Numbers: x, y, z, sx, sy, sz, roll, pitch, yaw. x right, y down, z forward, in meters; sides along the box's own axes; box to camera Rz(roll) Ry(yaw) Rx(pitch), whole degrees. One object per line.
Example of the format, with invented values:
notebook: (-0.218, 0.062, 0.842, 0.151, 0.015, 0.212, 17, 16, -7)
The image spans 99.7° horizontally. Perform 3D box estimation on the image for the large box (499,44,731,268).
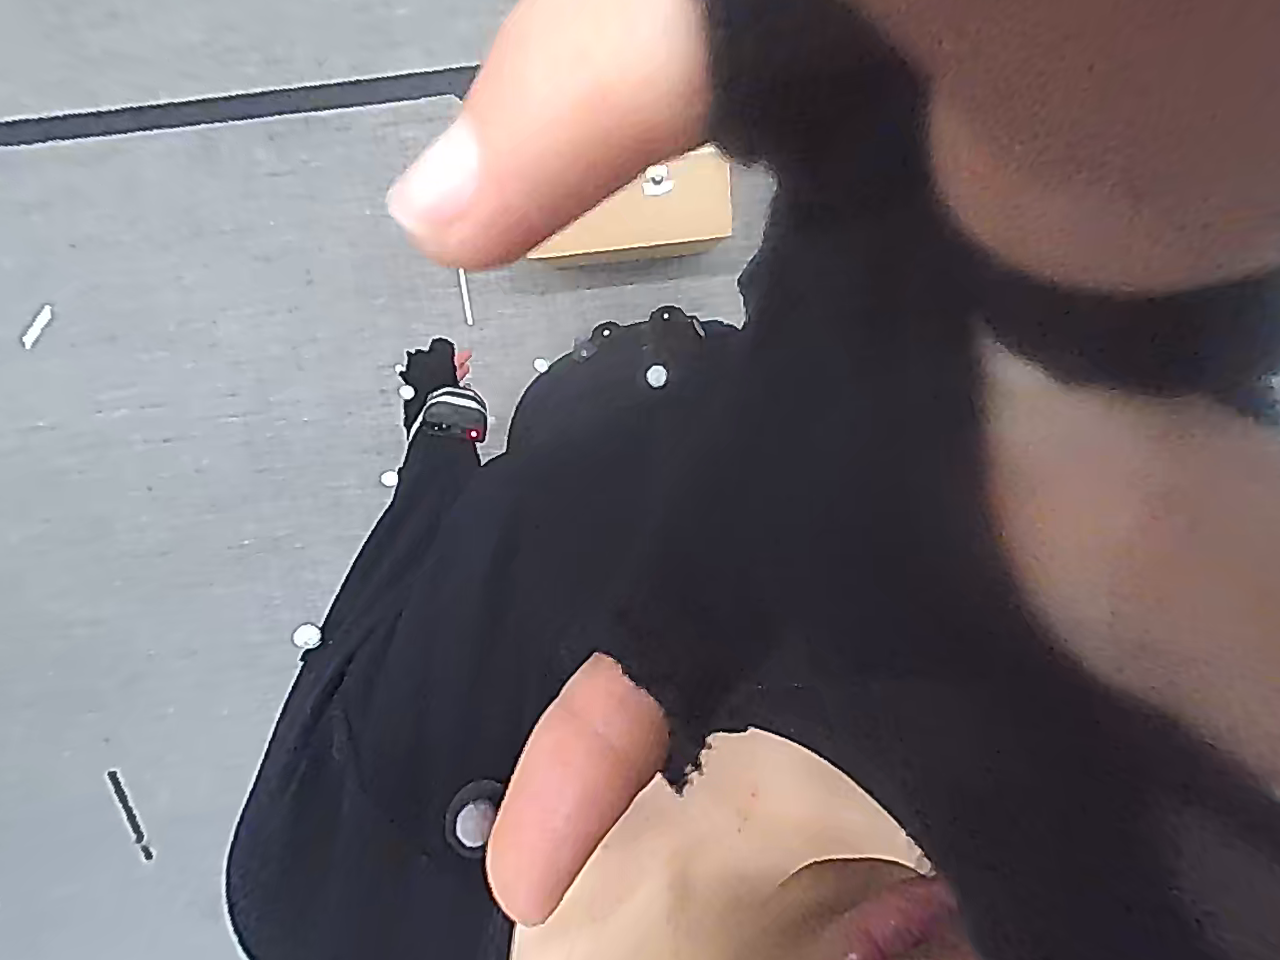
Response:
large box: (-0.045, -0.647, 1.143, 0.408, 0.320, 0.320, -7, 108, 0)
